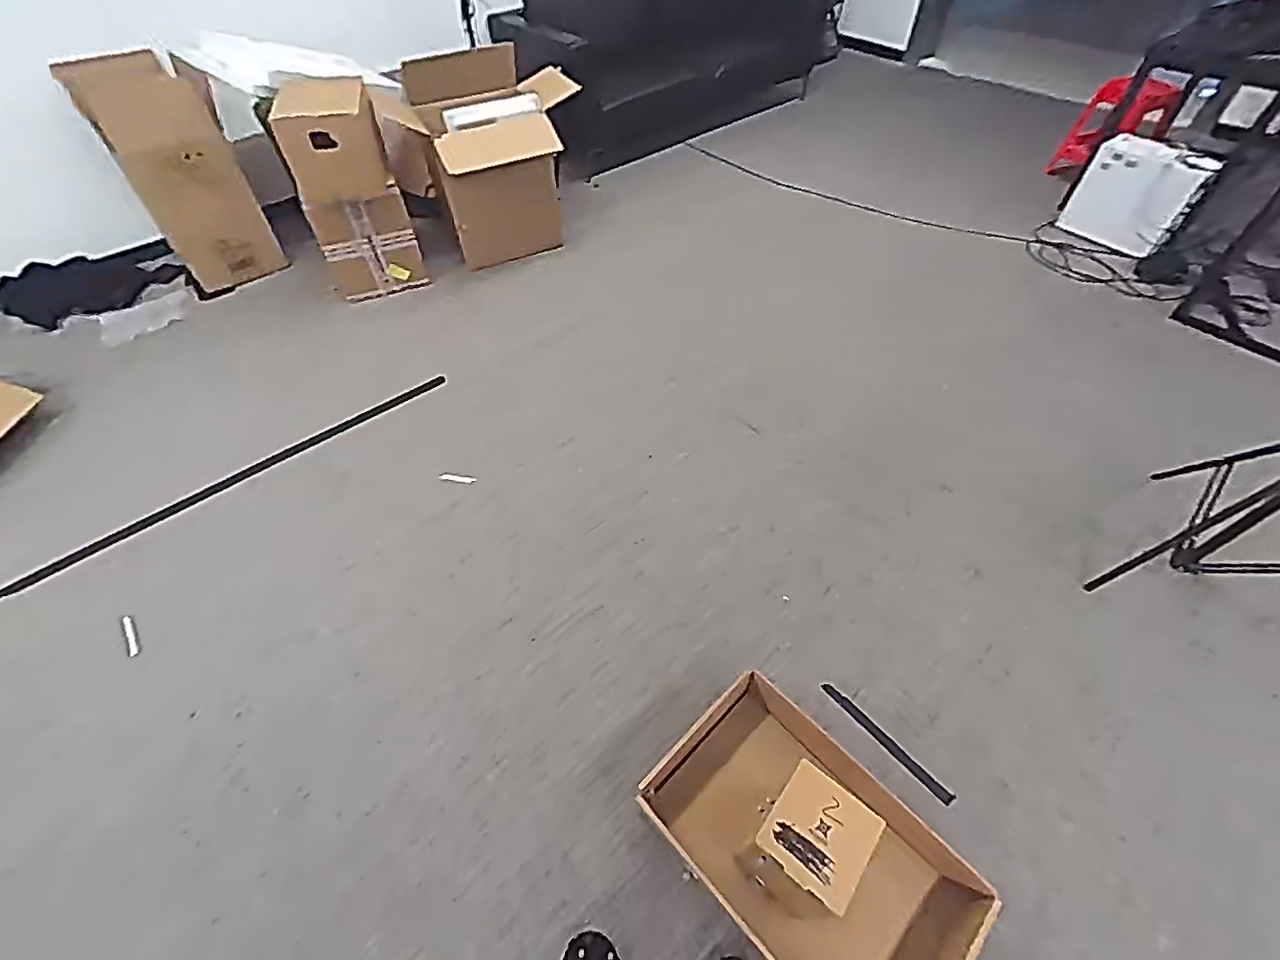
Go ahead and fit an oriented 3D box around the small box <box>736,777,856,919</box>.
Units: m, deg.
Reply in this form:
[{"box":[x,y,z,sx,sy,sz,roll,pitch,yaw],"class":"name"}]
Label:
[{"box":[0.316,0.766,1.129,0.168,0.176,0.179,33,60,26],"class":"small box"}]
